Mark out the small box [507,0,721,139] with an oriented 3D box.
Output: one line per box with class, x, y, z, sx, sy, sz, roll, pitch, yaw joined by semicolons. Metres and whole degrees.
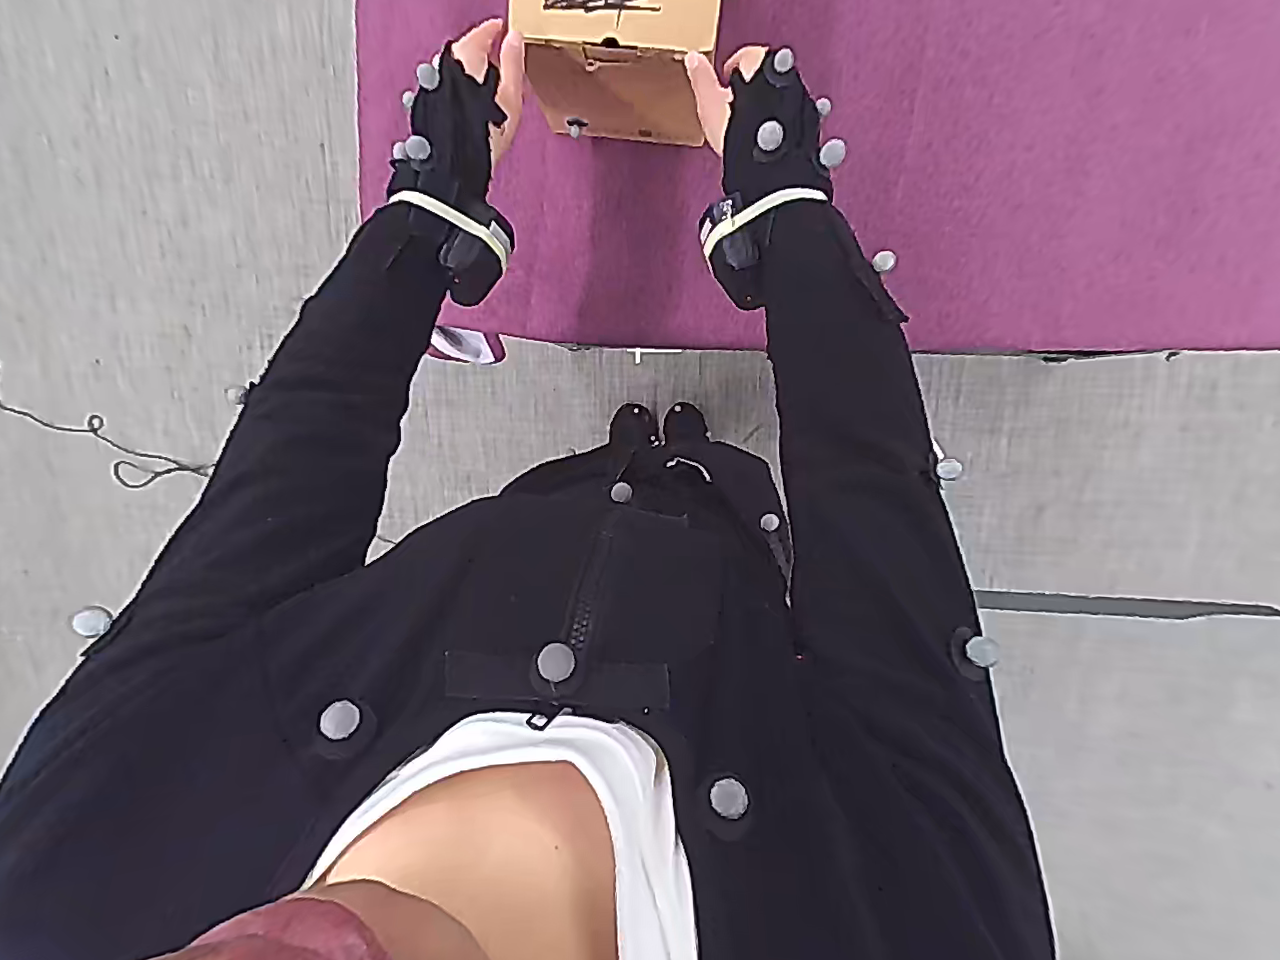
small box;-0.010;-0.440;0.487;0.168;0.176;0.179;7;100;2
